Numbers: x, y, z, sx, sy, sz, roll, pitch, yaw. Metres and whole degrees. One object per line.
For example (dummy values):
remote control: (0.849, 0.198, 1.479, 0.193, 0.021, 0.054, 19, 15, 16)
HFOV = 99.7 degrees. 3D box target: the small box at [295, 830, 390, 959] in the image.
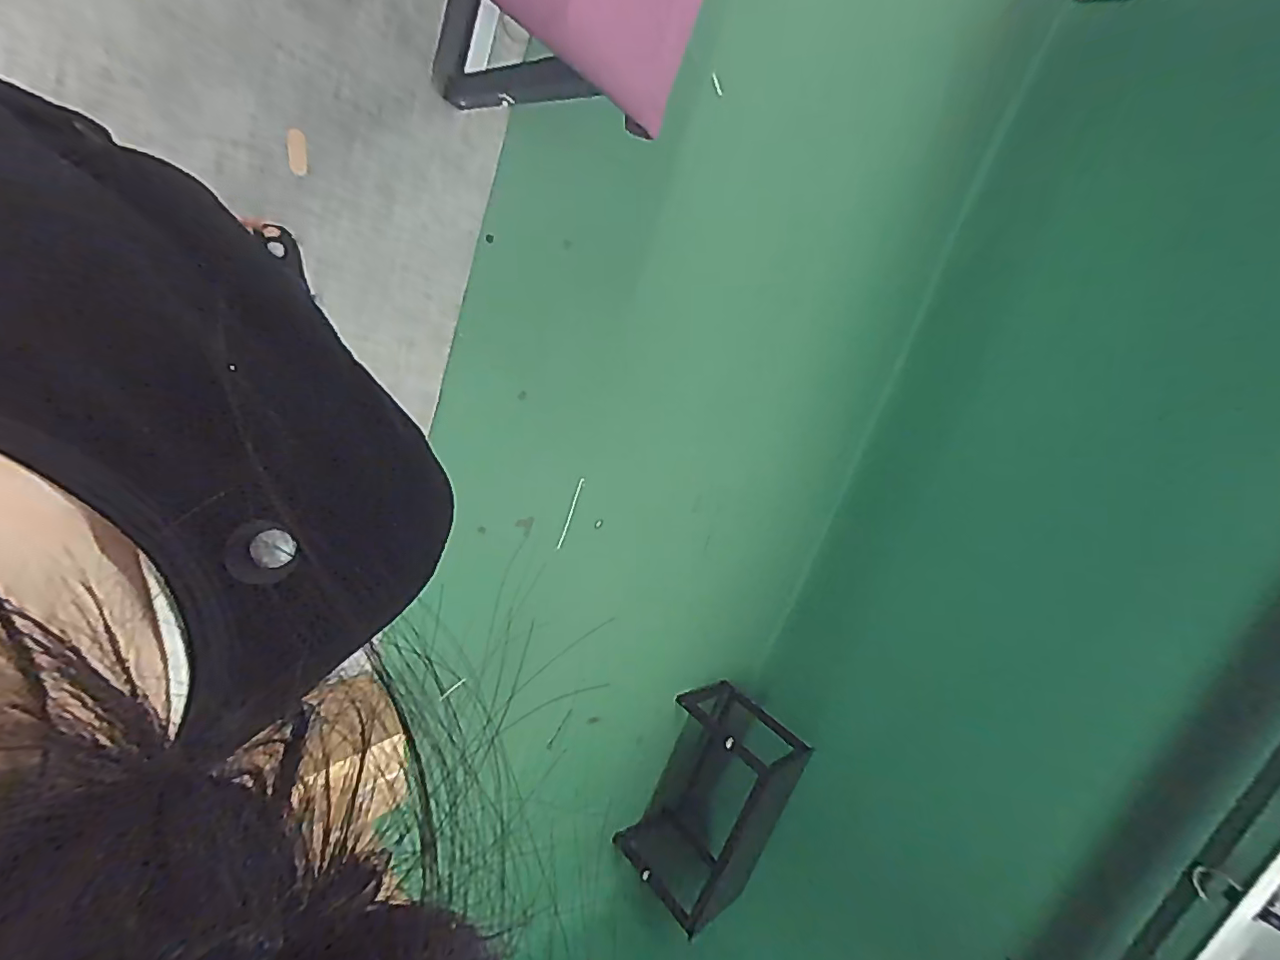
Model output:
small box: (-0.737, 1.029, 1.340, 0.179, 0.176, 0.168, -14, 121, -42)

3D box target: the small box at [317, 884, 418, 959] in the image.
small box: (-0.625, 1.093, 1.238, 0.179, 0.176, 0.168, -12, 121, -41)

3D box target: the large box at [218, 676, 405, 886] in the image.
large box: (-0.979, 0.876, 1.634, 0.408, 0.320, 0.320, -14, 123, -43)

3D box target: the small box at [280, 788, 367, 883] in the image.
small box: (-0.844, 0.964, 1.446, 0.168, 0.176, 0.179, -12, 121, -42)
